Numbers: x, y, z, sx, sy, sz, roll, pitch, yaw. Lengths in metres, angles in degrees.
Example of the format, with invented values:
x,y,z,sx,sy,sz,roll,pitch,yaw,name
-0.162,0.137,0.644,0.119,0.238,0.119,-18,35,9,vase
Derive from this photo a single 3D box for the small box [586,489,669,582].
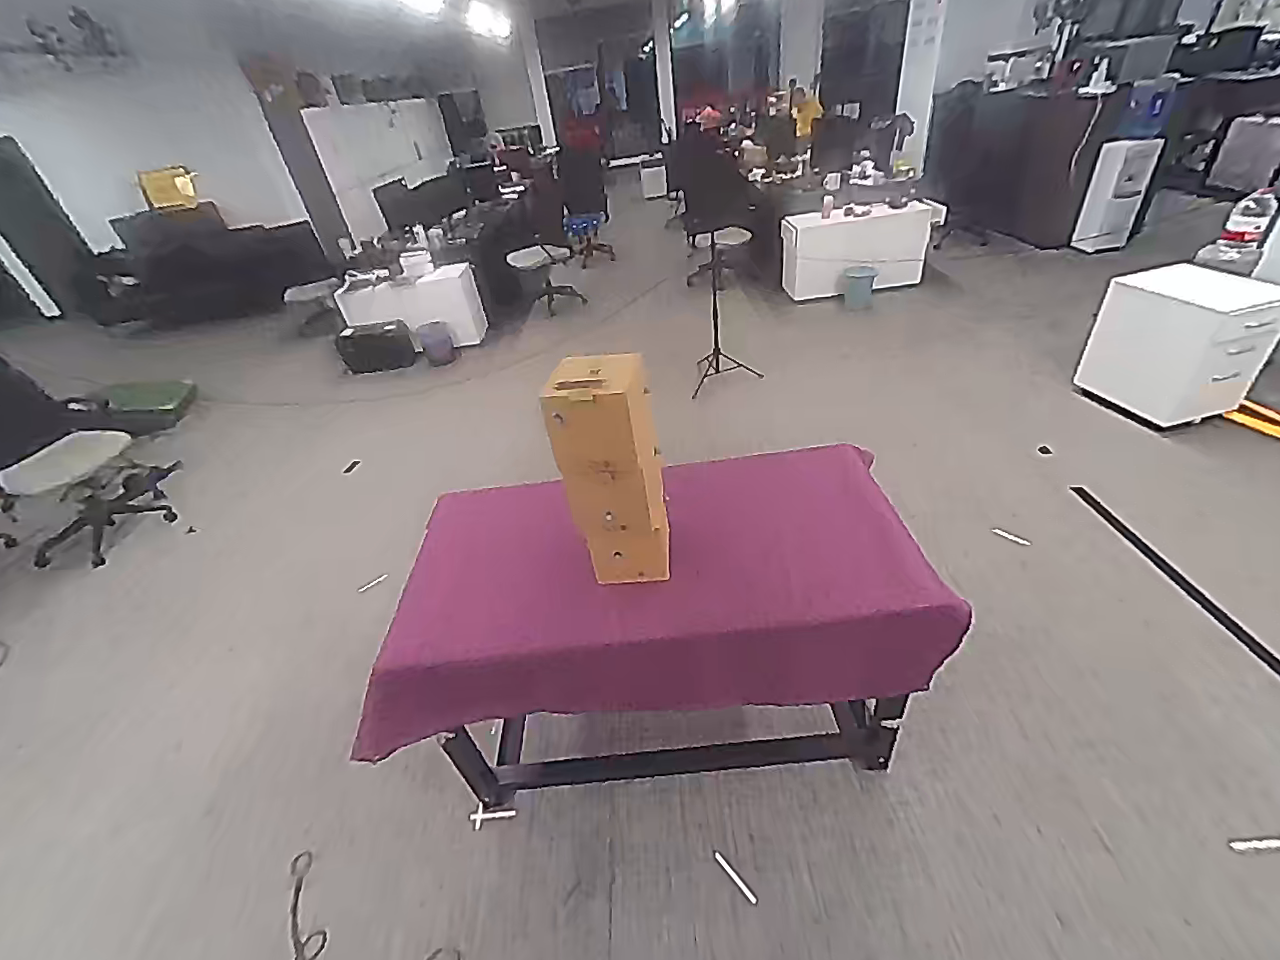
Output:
x,y,z,sx,sy,sz,roll,pitch,yaw,name
-0.020,0.125,1.265,0.168,0.176,0.179,-5,36,6,small box

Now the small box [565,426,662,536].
x,y,z,sx,sy,sz,roll,pitch,yaw,name
-0.047,0.000,1.160,0.168,0.176,0.179,-1,37,12,small box
